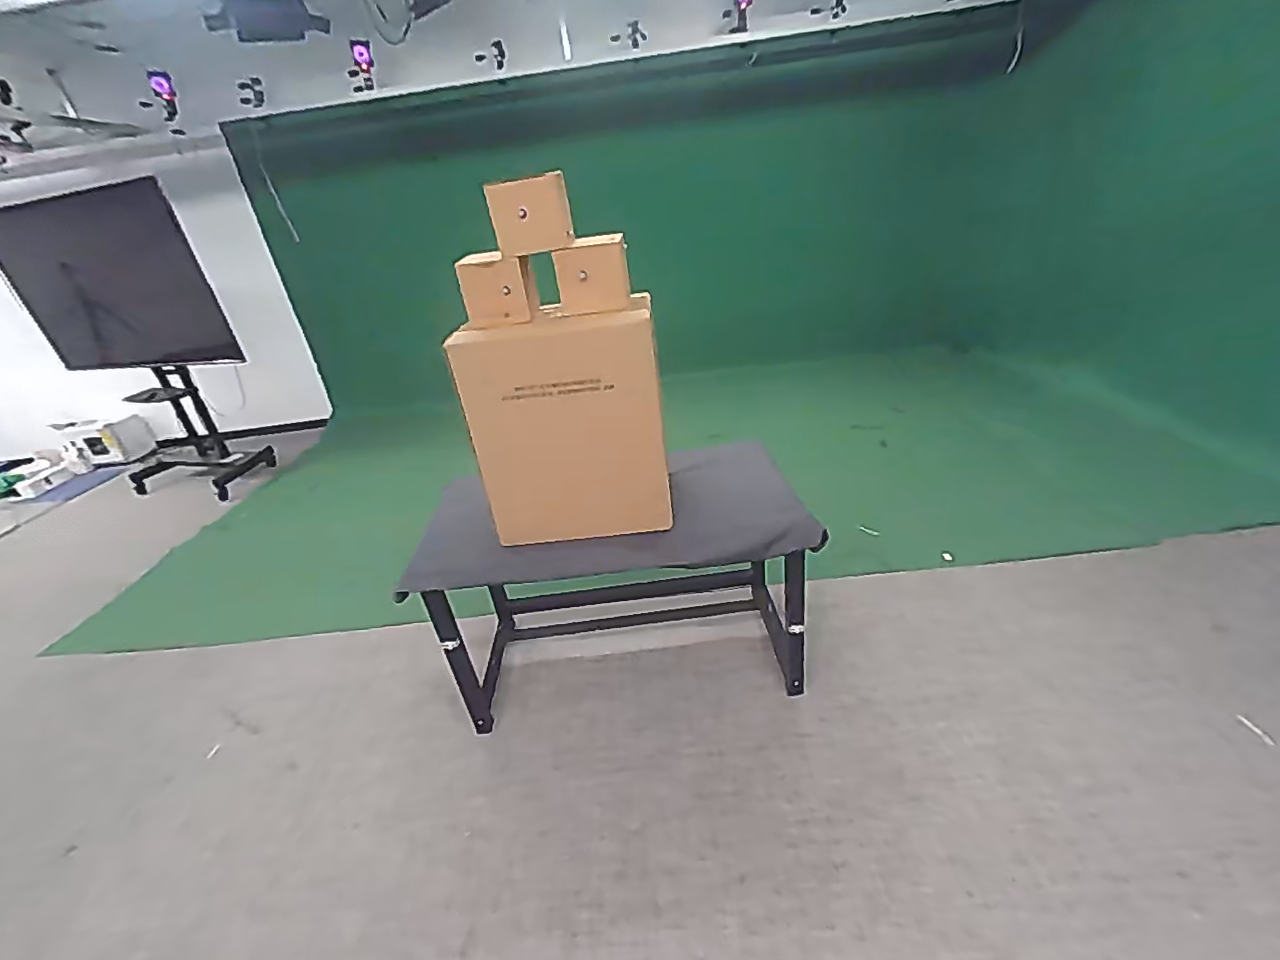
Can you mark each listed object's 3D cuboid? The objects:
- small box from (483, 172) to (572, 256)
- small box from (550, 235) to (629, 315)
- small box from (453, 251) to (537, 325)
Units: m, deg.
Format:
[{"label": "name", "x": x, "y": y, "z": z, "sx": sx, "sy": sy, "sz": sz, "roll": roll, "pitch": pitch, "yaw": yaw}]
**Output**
[{"label": "small box", "x": -0.276, "y": -0.678, "z": 1.380, "sx": 0.179, "sy": 0.176, "sz": 0.168, "roll": -7, "pitch": 29, "yaw": 3}, {"label": "small box", "x": -0.129, "y": -0.549, "z": 1.454, "sx": 0.179, "sy": 0.176, "sz": 0.168, "roll": -6, "pitch": 30, "yaw": 4}, {"label": "small box", "x": -0.384, "y": -0.523, "z": 1.467, "sx": 0.168, "sy": 0.176, "sz": 0.179, "roll": -5, "pitch": 28, "yaw": 1}]
